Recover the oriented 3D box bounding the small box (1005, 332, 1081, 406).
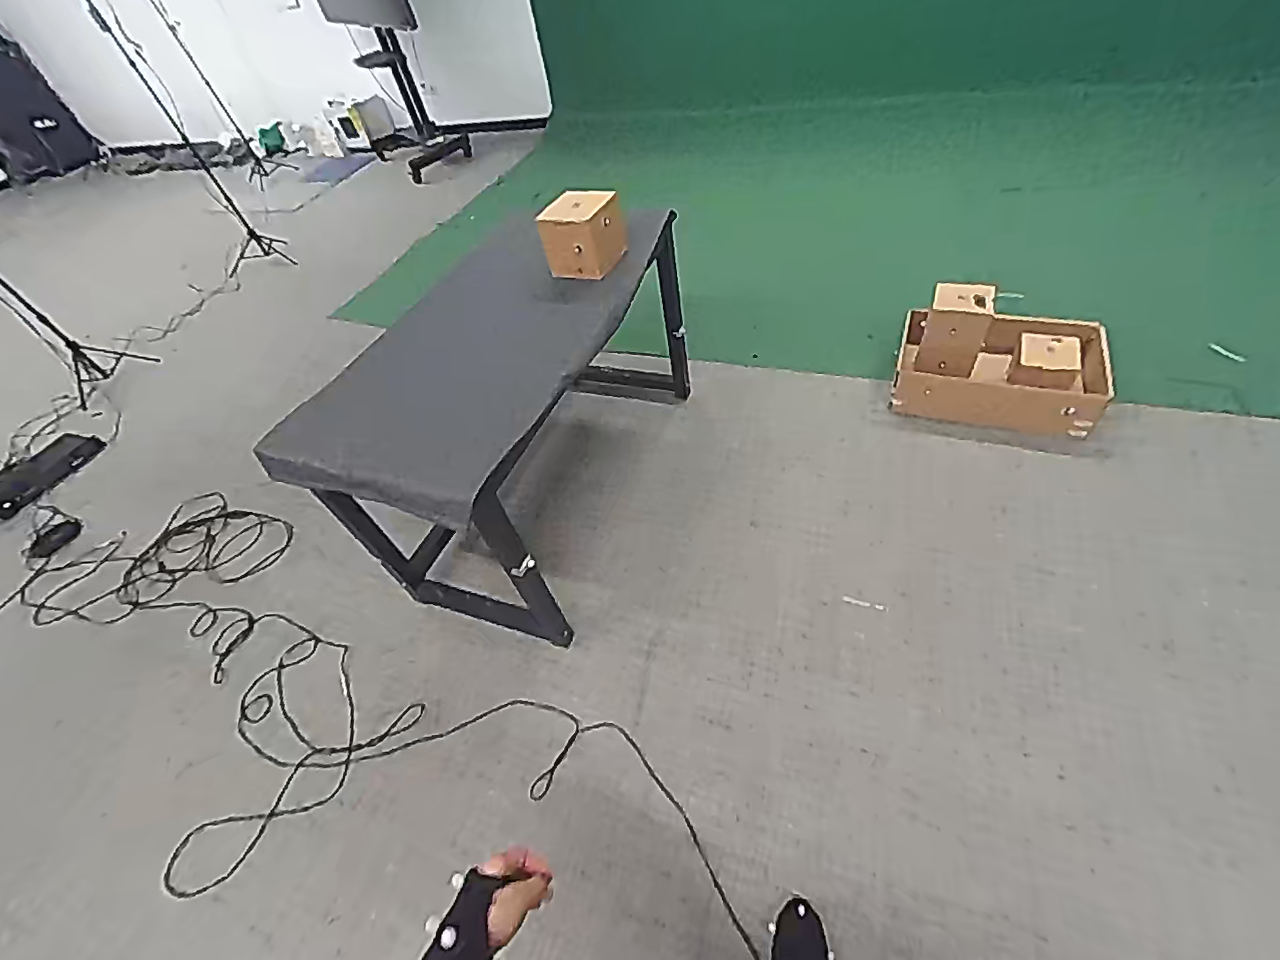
[{"bbox_3d":[1.362,-0.373,1.833,0.168,0.176,0.179,14,55,23],"label":"small box"}]

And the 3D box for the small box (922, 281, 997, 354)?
[{"bbox_3d":[1.070,-0.542,1.815,0.179,0.176,0.168,13,54,22],"label":"small box"}]

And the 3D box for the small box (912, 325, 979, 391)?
[{"bbox_3d":[1.095,-0.440,1.942,0.179,0.176,0.168,13,55,20],"label":"small box"}]

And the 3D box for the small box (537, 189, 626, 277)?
[{"bbox_3d":[-0.153,-0.686,1.503,0.168,0.176,0.179,14,53,23],"label":"small box"}]
